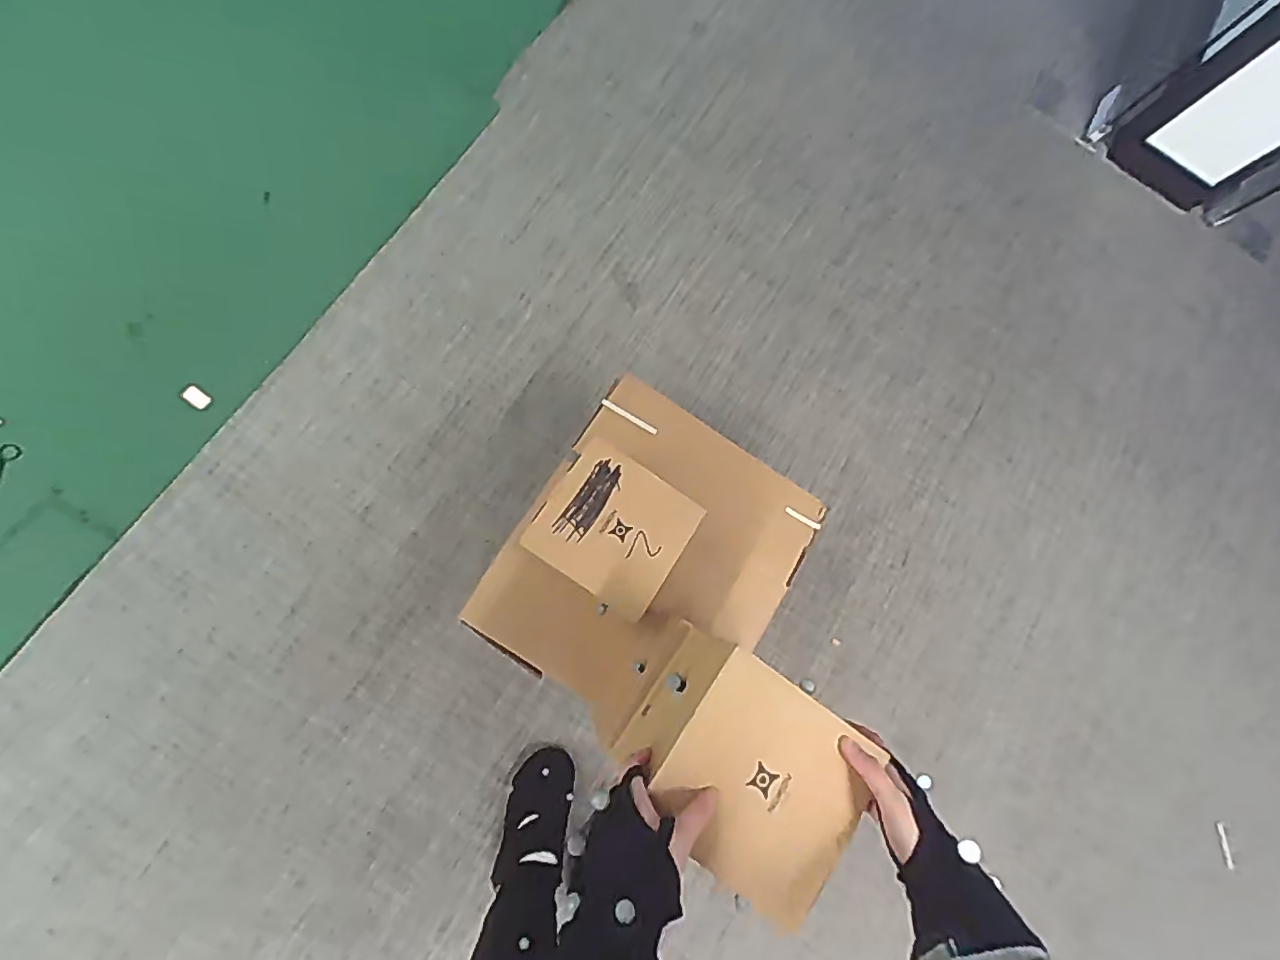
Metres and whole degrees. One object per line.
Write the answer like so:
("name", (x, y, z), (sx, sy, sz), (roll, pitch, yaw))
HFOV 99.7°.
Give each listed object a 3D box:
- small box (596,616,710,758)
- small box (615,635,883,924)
("small box", (0.055, 0.296, 0.713), (0.168, 0.176, 0.179), (35, 76, -3))
("small box", (0.093, 0.272, 0.543), (0.179, 0.176, 0.168), (36, 76, -3))
